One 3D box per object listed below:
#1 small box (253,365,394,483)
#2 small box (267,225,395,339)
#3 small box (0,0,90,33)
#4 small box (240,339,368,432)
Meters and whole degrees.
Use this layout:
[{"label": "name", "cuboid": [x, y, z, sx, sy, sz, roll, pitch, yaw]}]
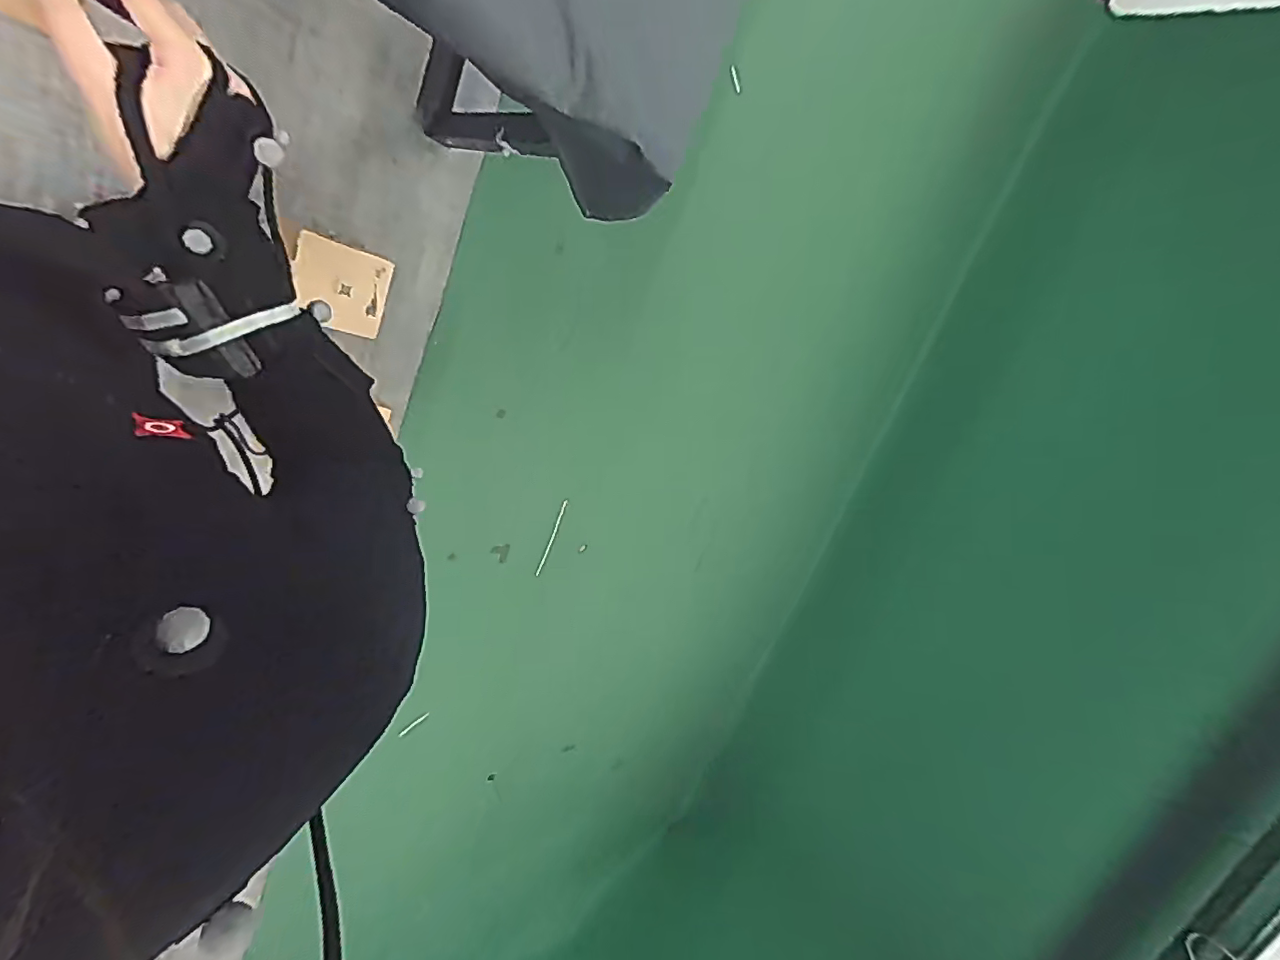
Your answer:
[{"label": "small box", "cuboid": [-0.624, -0.111, 1.064, 0.179, 0.176, 0.168, 14, 104, -49]}, {"label": "small box", "cuboid": [-0.639, -0.408, 1.110, 0.179, 0.176, 0.168, 6, 109, -48]}, {"label": "small box", "cuboid": [-0.323, -0.342, 0.220, 0.168, 0.176, 0.179, 13, 119, -47]}, {"label": "small box", "cuboid": [-0.728, -0.187, 1.167, 0.179, 0.176, 0.168, 14, 104, -48]}]
